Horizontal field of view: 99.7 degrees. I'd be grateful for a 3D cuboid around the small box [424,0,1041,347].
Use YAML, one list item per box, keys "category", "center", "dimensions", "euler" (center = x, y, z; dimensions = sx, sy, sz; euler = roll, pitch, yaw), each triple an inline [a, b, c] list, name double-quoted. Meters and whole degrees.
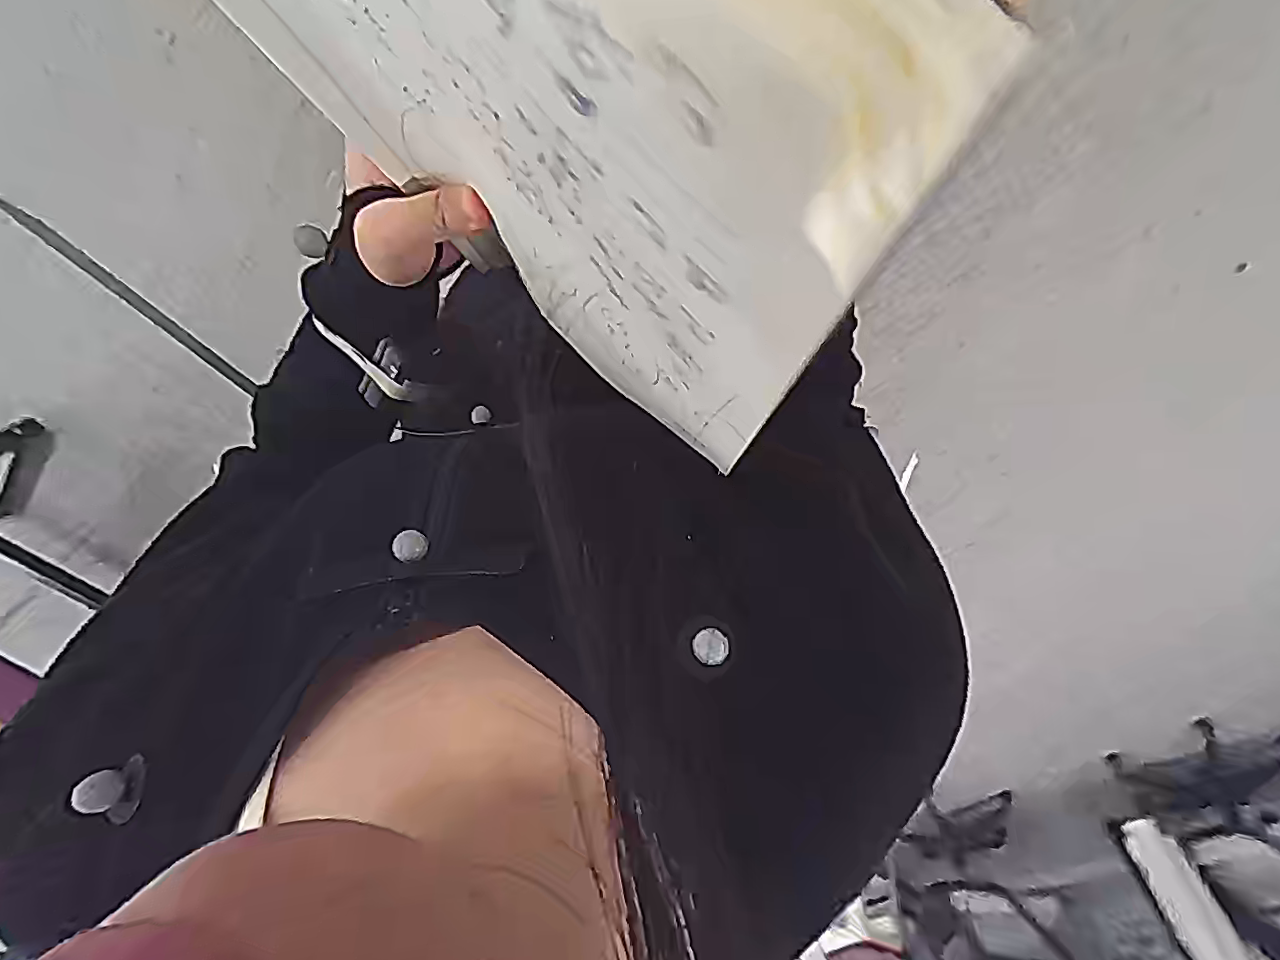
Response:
- category: "small box"
  center: [0.026, -0.189, 0.211]
  dimensions: [0.168, 0.179, 0.176]
  euler: [-37, 92, -12]
